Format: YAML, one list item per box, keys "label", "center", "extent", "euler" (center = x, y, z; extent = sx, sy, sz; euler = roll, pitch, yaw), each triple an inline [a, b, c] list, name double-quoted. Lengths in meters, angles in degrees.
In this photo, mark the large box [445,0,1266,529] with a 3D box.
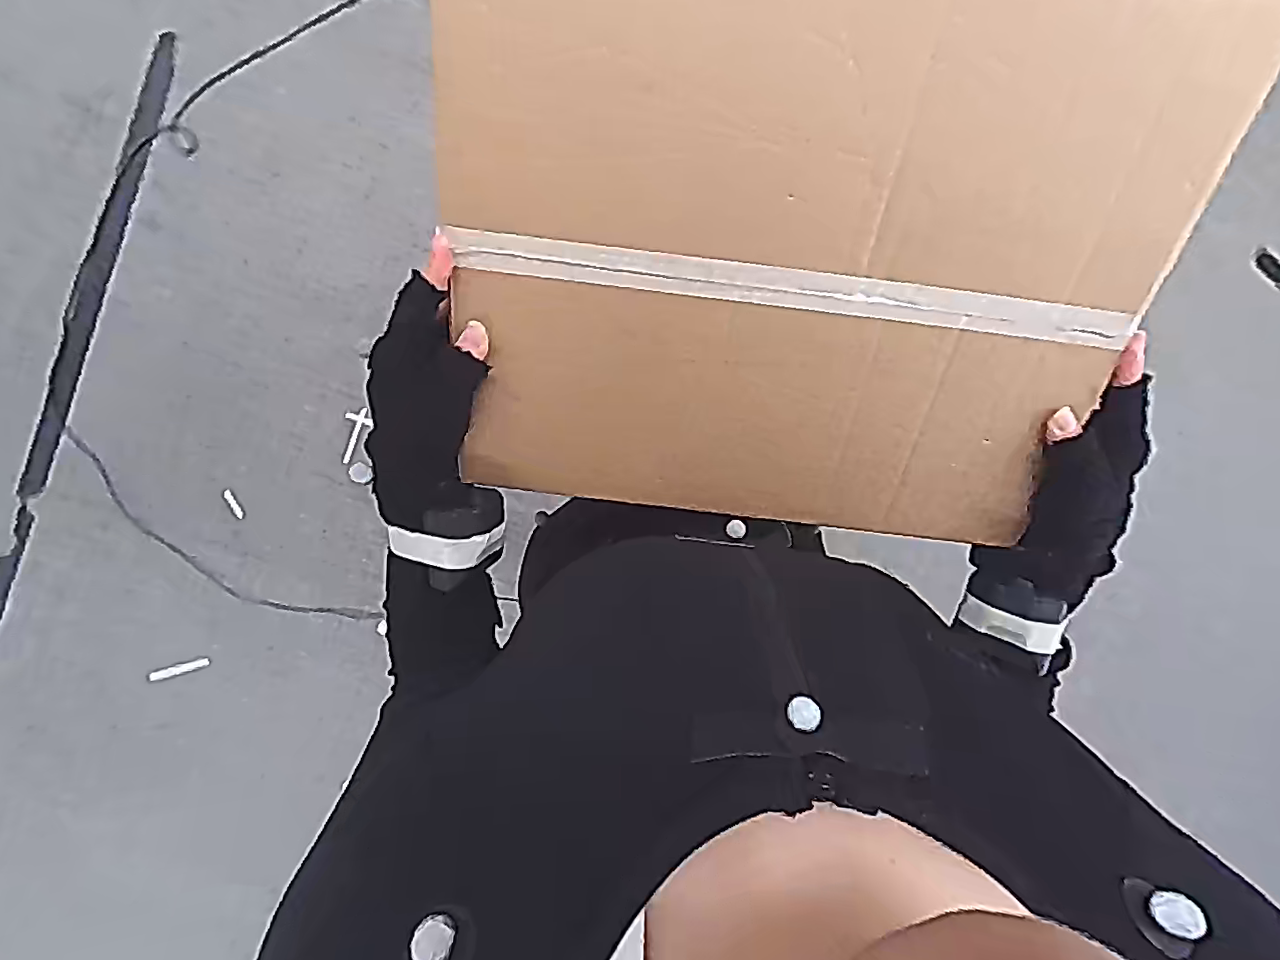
- label: "large box"
  center: [0.091, -0.186, 0.454]
  extent: [0.408, 0.320, 0.320]
  euler: [7, 120, -2]
